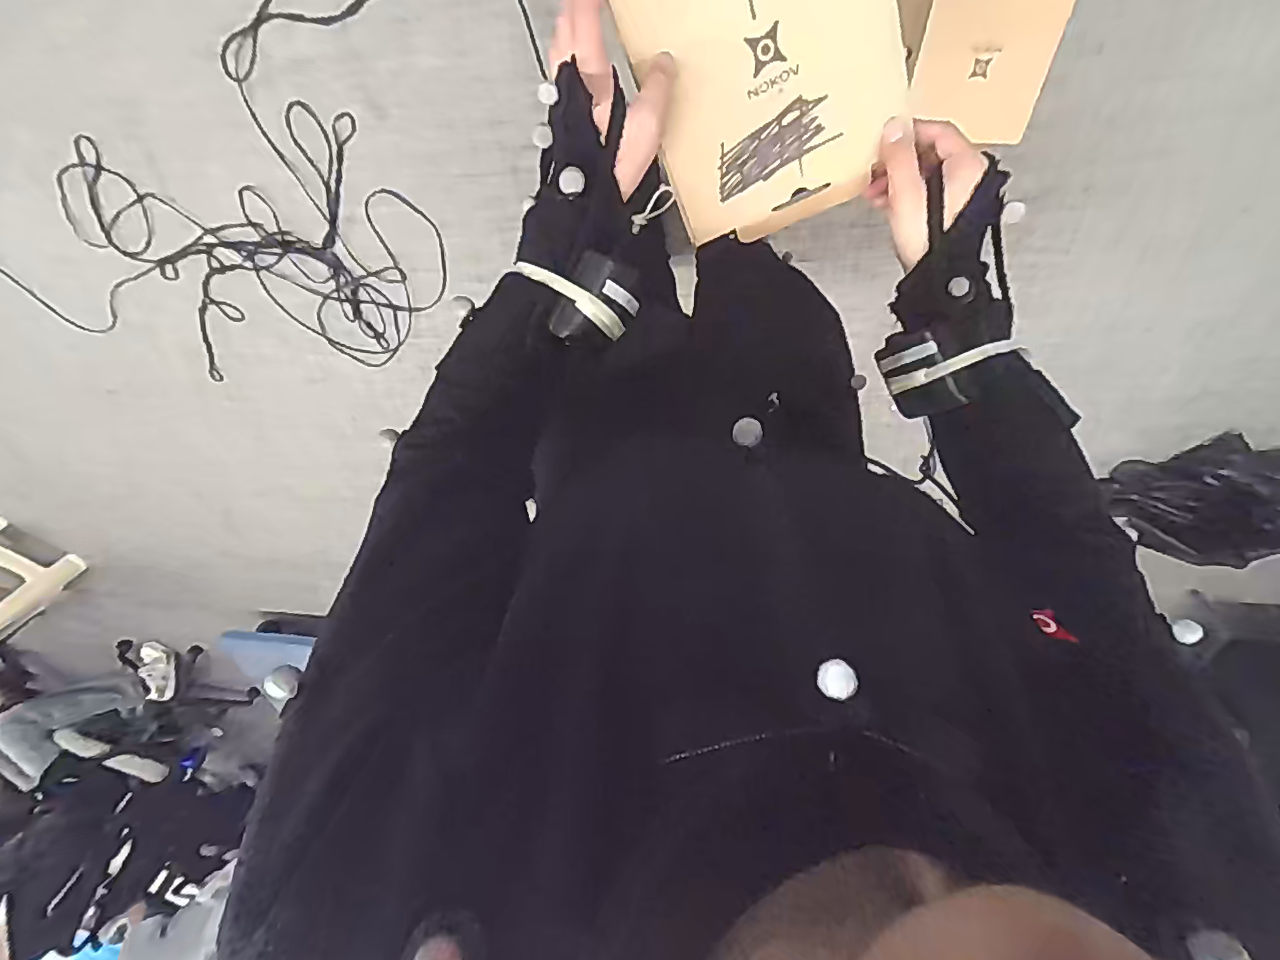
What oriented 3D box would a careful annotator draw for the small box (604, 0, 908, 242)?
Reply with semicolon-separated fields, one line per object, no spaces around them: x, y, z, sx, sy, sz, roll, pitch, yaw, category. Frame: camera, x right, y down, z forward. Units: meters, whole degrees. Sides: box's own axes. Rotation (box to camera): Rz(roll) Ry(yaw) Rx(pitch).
0.083;-0.320;0.417;0.168;0.176;0.179;-19;124;15;small box

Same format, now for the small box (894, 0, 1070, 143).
0.439;-0.583;0.748;0.168;0.176;0.179;4;129;5;small box
